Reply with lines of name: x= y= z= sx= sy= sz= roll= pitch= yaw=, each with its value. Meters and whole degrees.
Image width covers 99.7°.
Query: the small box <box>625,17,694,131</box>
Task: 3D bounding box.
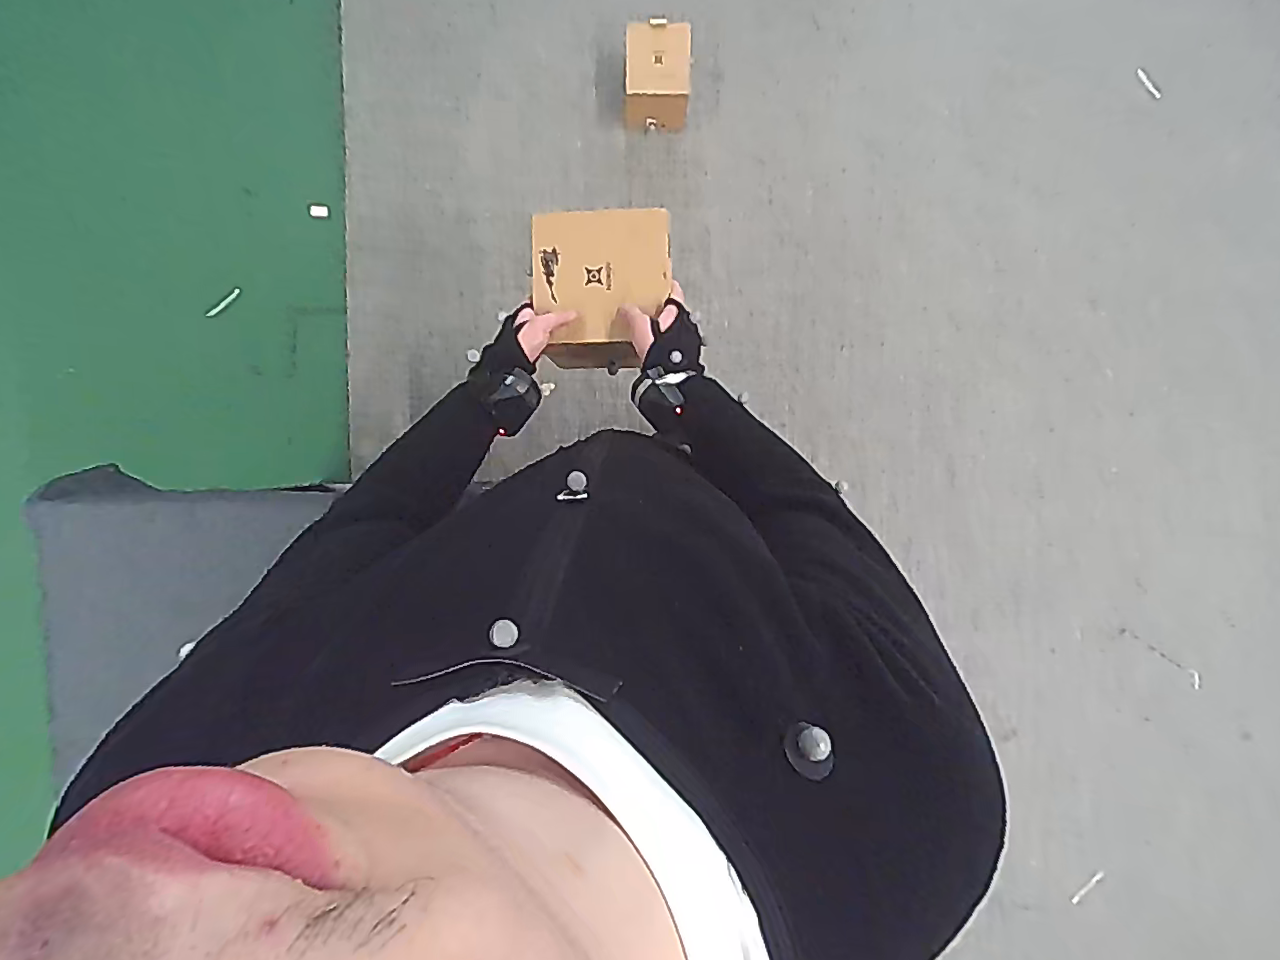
small box: x=0.047 y=-1.060 z=1.421 sx=0.168 sy=0.176 sz=0.179 roll=2 pitch=93 yaw=1

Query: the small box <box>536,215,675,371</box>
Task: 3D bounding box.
small box: x=-0.043 y=-0.251 z=0.759 sx=0.179 sy=0.176 sz=0.168 roll=0 pitch=90 yaw=2
